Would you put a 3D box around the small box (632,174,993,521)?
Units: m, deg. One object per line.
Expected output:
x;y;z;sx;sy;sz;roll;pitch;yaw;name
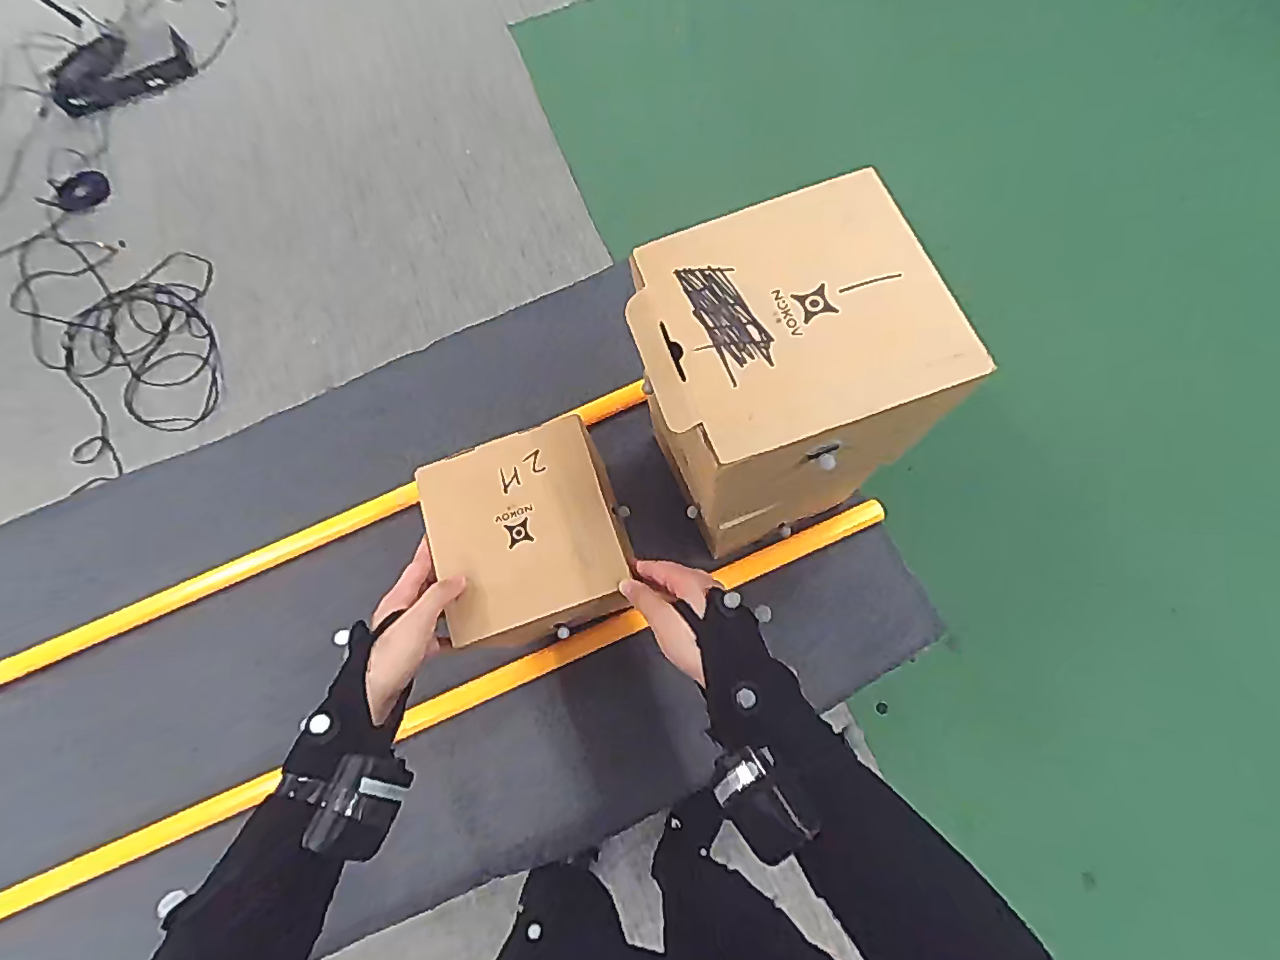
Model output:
0.107;-0.081;0.412;0.179;0.176;0.168;-19;73;-1;small box
